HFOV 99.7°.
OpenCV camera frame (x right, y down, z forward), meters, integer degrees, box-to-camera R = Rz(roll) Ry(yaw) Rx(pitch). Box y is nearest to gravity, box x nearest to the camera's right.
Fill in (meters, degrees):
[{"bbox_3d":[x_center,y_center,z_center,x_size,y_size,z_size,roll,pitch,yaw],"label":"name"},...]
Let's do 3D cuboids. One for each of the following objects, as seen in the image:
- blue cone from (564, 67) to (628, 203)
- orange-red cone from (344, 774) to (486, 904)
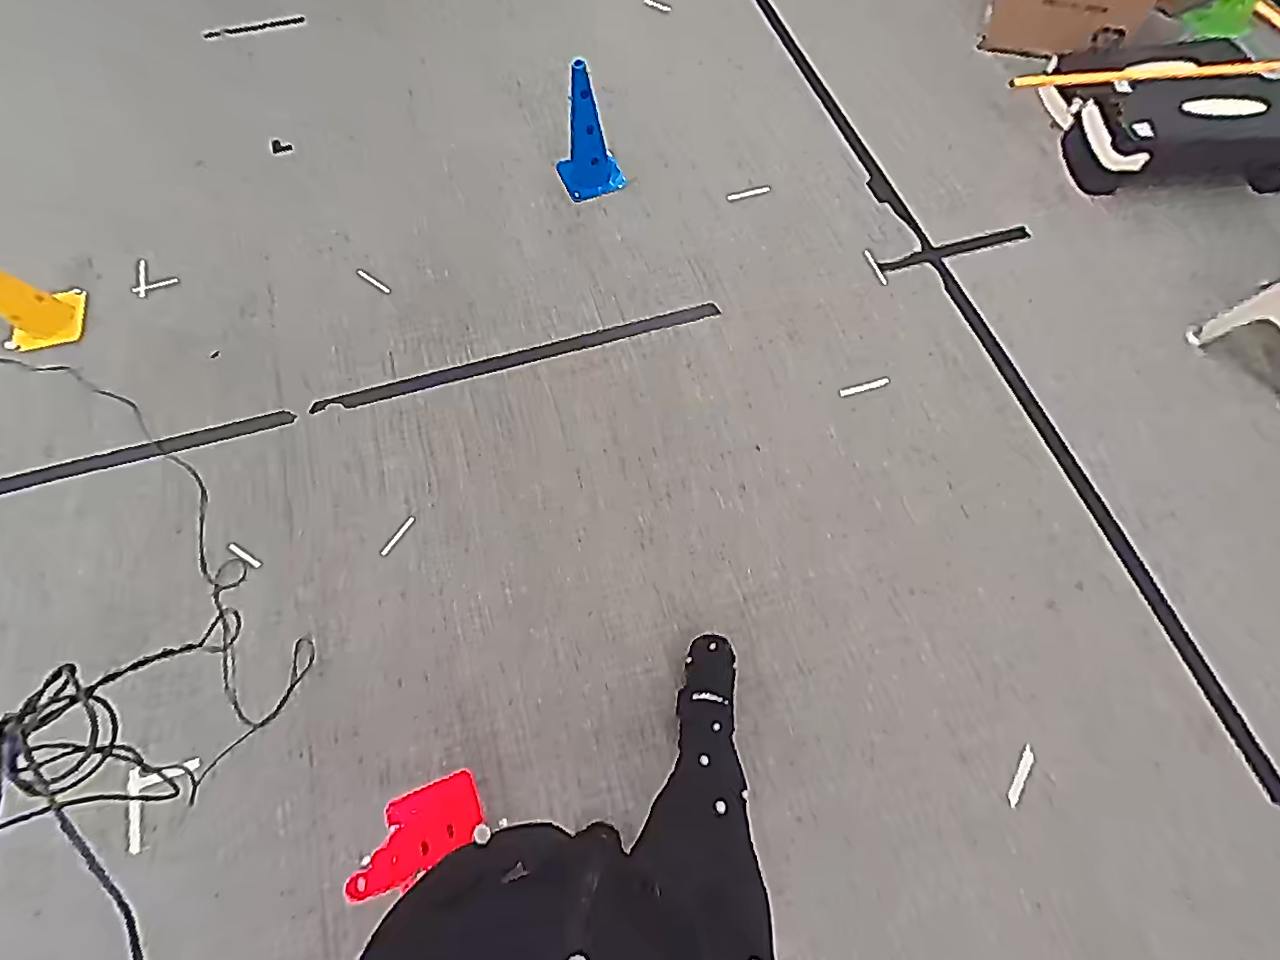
[{"bbox_3d":[-0.156,-1.102,1.710,0.193,0.380,0.192,-20,70,-7],"label":"blue cone"},{"bbox_3d":[-0.444,0.702,1.006,0.199,0.360,0.198,-19,70,-8],"label":"orange-red cone"}]
